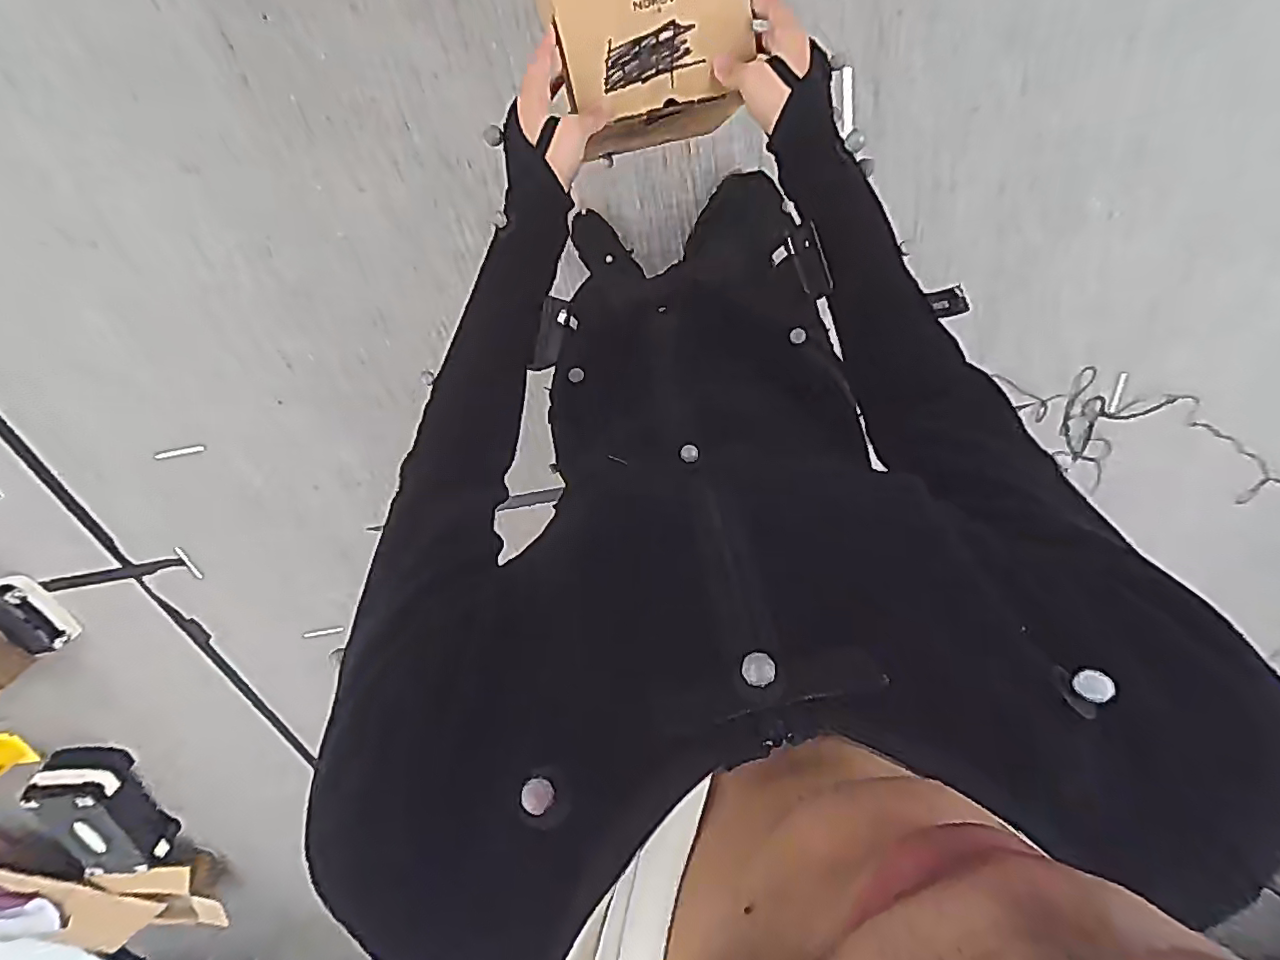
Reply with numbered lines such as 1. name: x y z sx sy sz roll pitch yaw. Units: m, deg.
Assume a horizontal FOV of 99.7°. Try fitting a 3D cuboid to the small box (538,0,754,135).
1. small box: -0.007 -0.444 0.503 0.168 0.176 0.179 -14 112 -3
